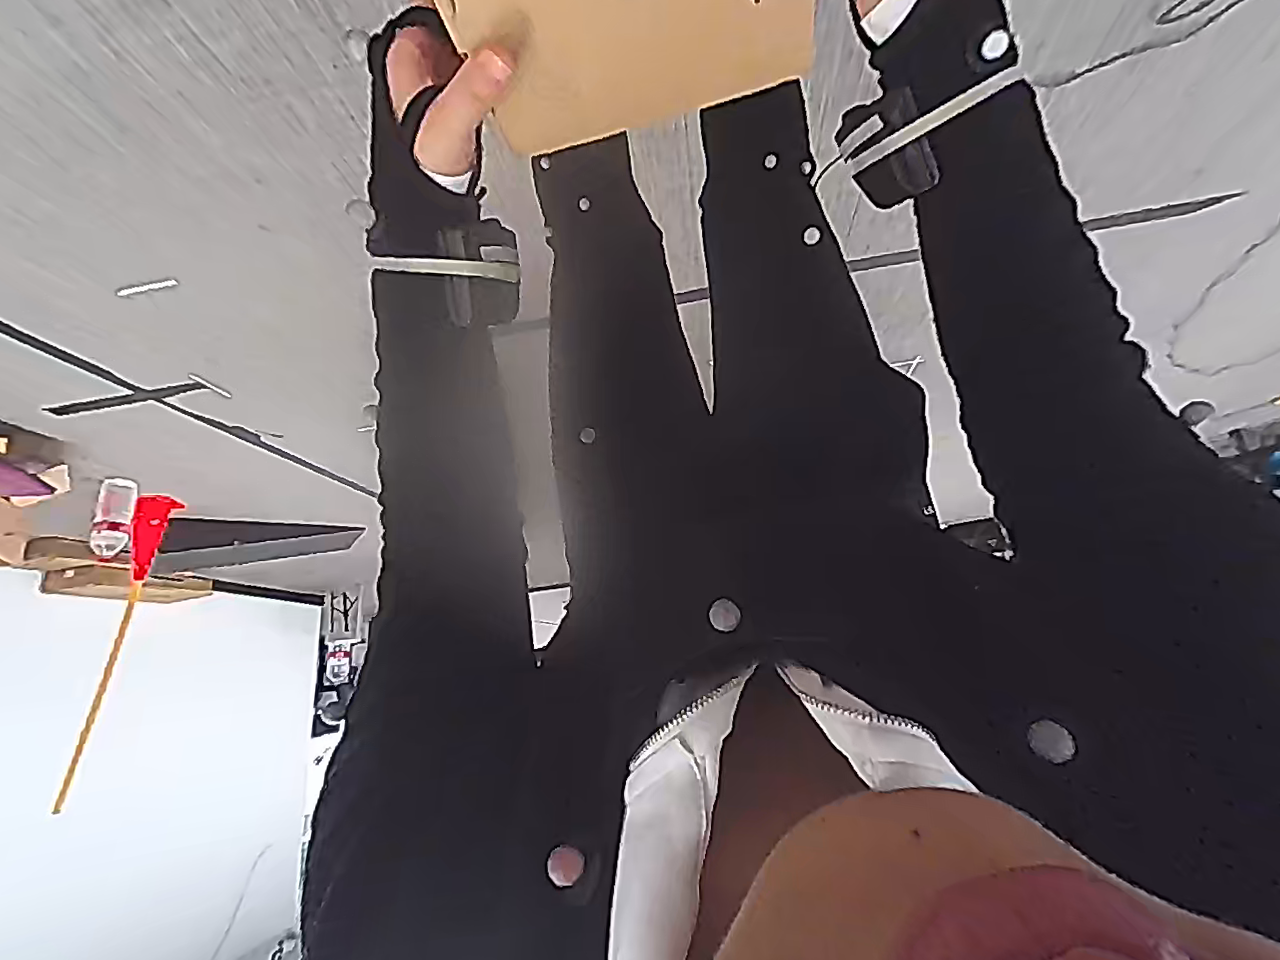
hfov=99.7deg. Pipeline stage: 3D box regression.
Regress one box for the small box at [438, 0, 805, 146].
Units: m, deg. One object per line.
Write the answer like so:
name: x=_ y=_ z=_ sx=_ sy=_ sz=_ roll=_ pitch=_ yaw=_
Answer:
small box: x=-0.018 y=-0.317 z=0.270 sx=0.179 sy=0.176 sz=0.168 roll=-8 pitch=157 yaw=12
